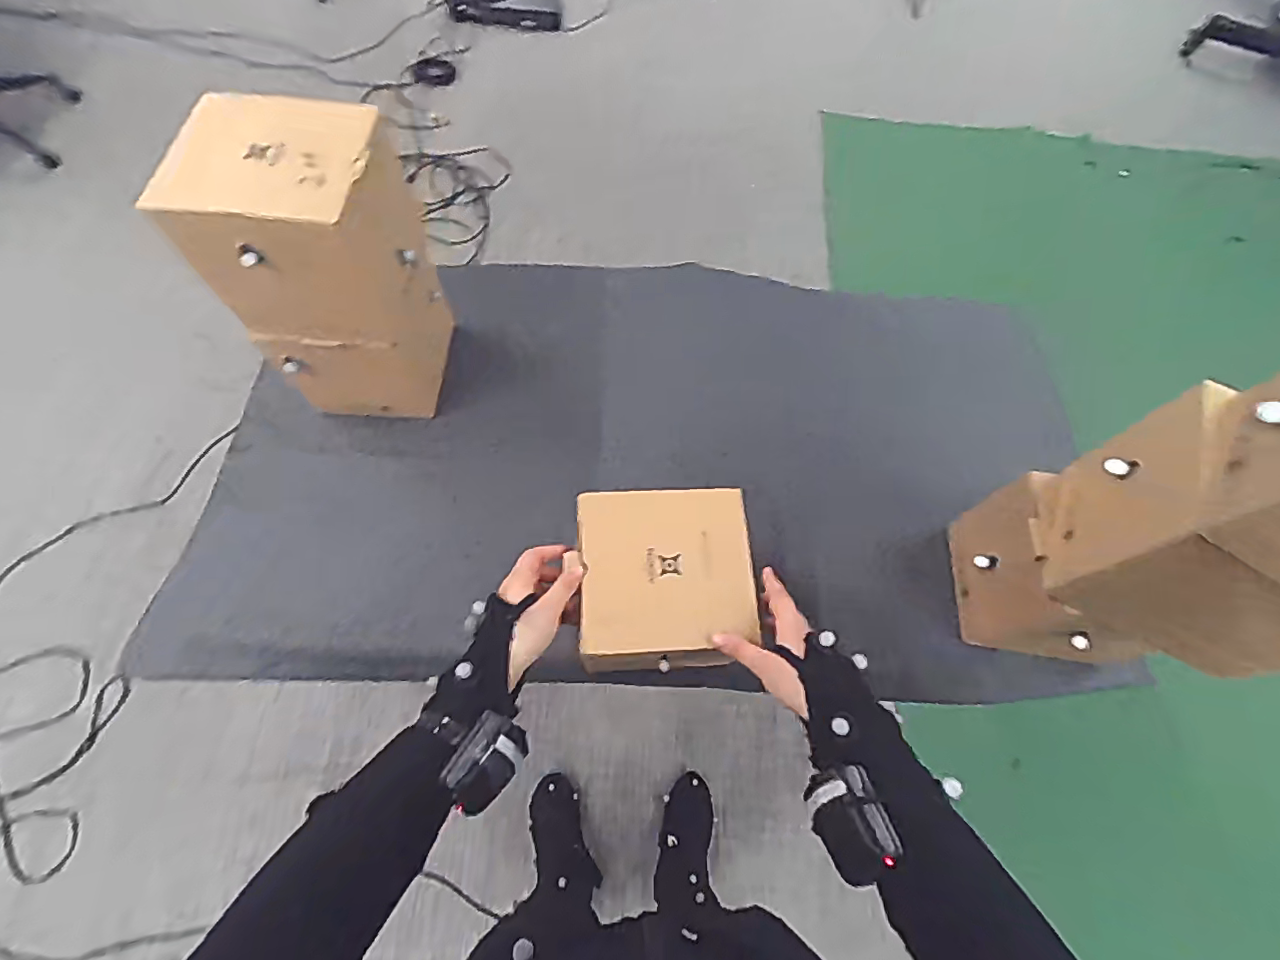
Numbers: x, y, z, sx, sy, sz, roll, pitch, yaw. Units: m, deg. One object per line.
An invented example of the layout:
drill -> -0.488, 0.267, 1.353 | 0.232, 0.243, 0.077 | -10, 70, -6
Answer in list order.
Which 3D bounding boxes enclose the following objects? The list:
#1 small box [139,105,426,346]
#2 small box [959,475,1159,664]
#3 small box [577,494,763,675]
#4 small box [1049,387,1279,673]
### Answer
small box -> -0.356, -0.263, 0.582 | 0.179, 0.176, 0.168 | 4, 66, -2
small box -> 0.508, 0.114, 0.641 | 0.179, 0.176, 0.168 | 8, 63, 1
small box -> 0.023, 0.125, 0.613 | 0.179, 0.176, 0.168 | -3, 67, -5
small box -> 0.520, 0.055, 0.489 | 0.179, 0.176, 0.168 | 28, 64, 10
